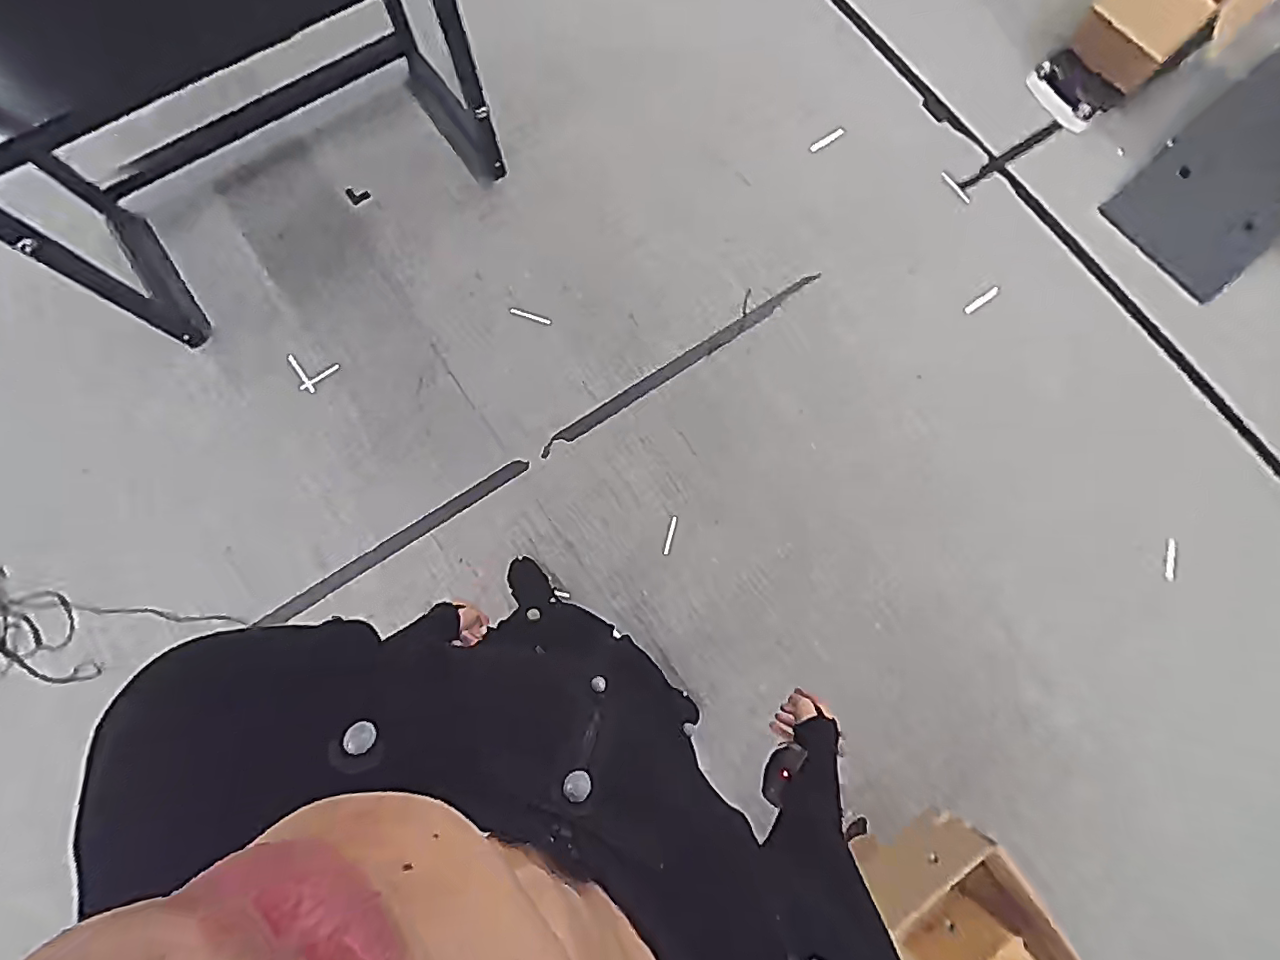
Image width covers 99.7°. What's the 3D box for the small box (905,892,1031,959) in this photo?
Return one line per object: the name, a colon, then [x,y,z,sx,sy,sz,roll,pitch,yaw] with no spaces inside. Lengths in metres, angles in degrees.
small box: [0.658,0.953,1.033,0.168,0.176,0.179,-38,83,-10]
